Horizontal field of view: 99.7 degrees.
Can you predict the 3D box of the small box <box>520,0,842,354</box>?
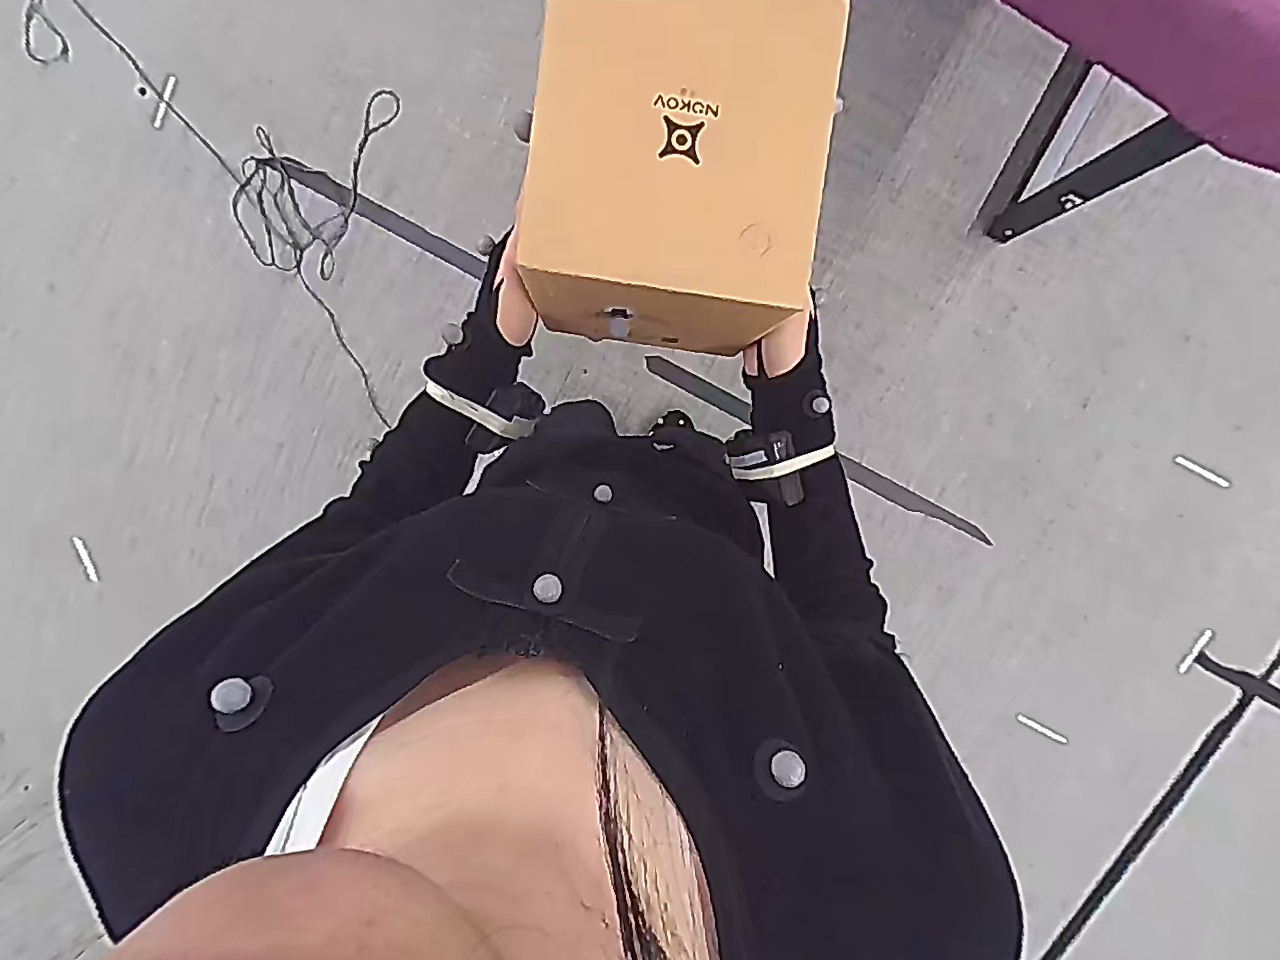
[{"bbox_3d":[0.019,-0.196,0.385,0.168,0.176,0.179,7,92,-4],"label":"small box"}]
